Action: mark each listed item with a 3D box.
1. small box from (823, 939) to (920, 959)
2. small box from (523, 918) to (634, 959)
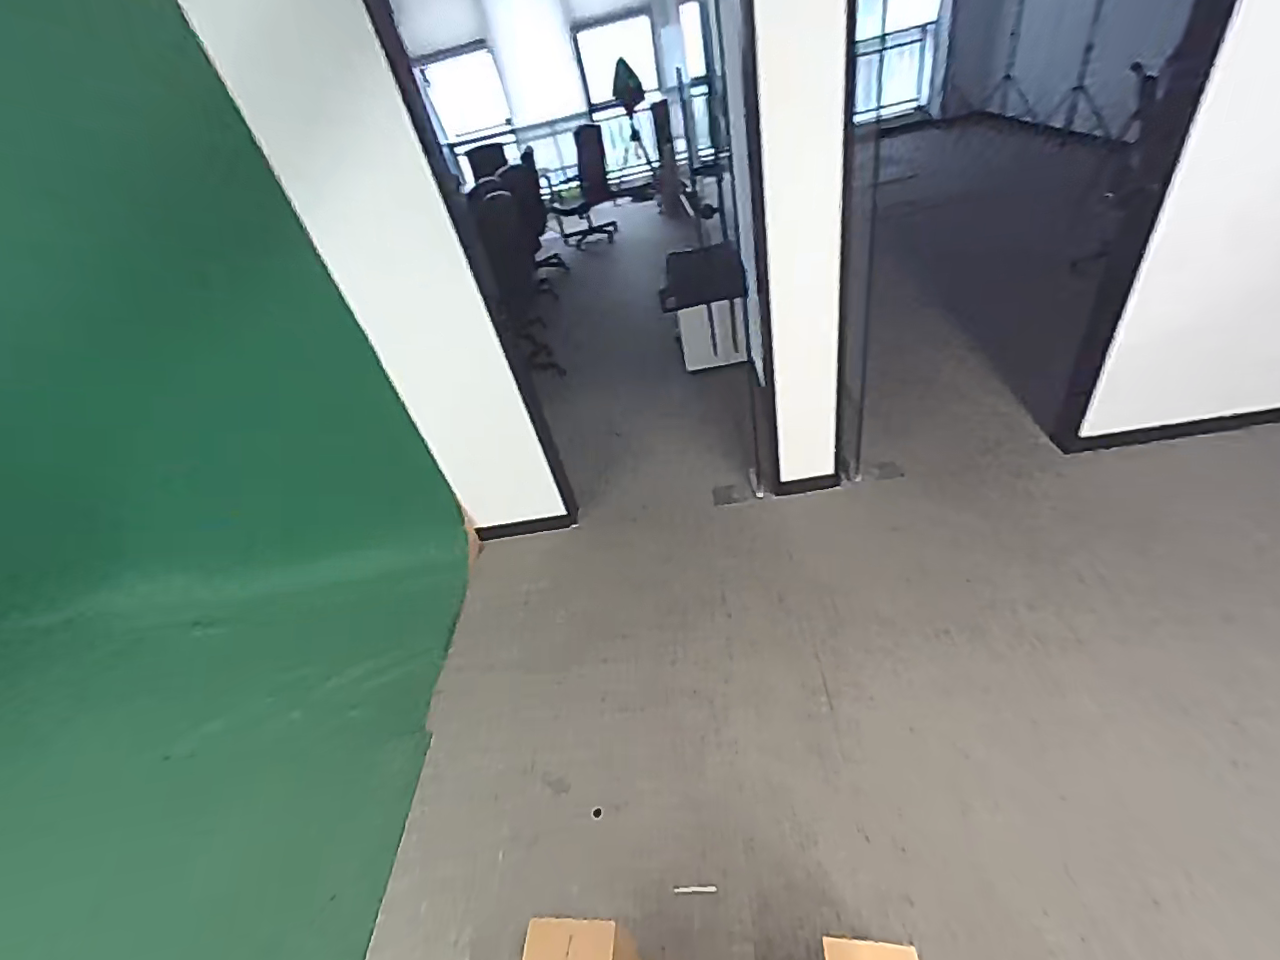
[{"bbox_3d":[0.426,0.969,0.977,0.168,0.176,0.179,-4,40,12],"label":"small box"},{"bbox_3d":[-0.110,0.910,0.958,0.168,0.176,0.179,-6,39,11],"label":"small box"}]
